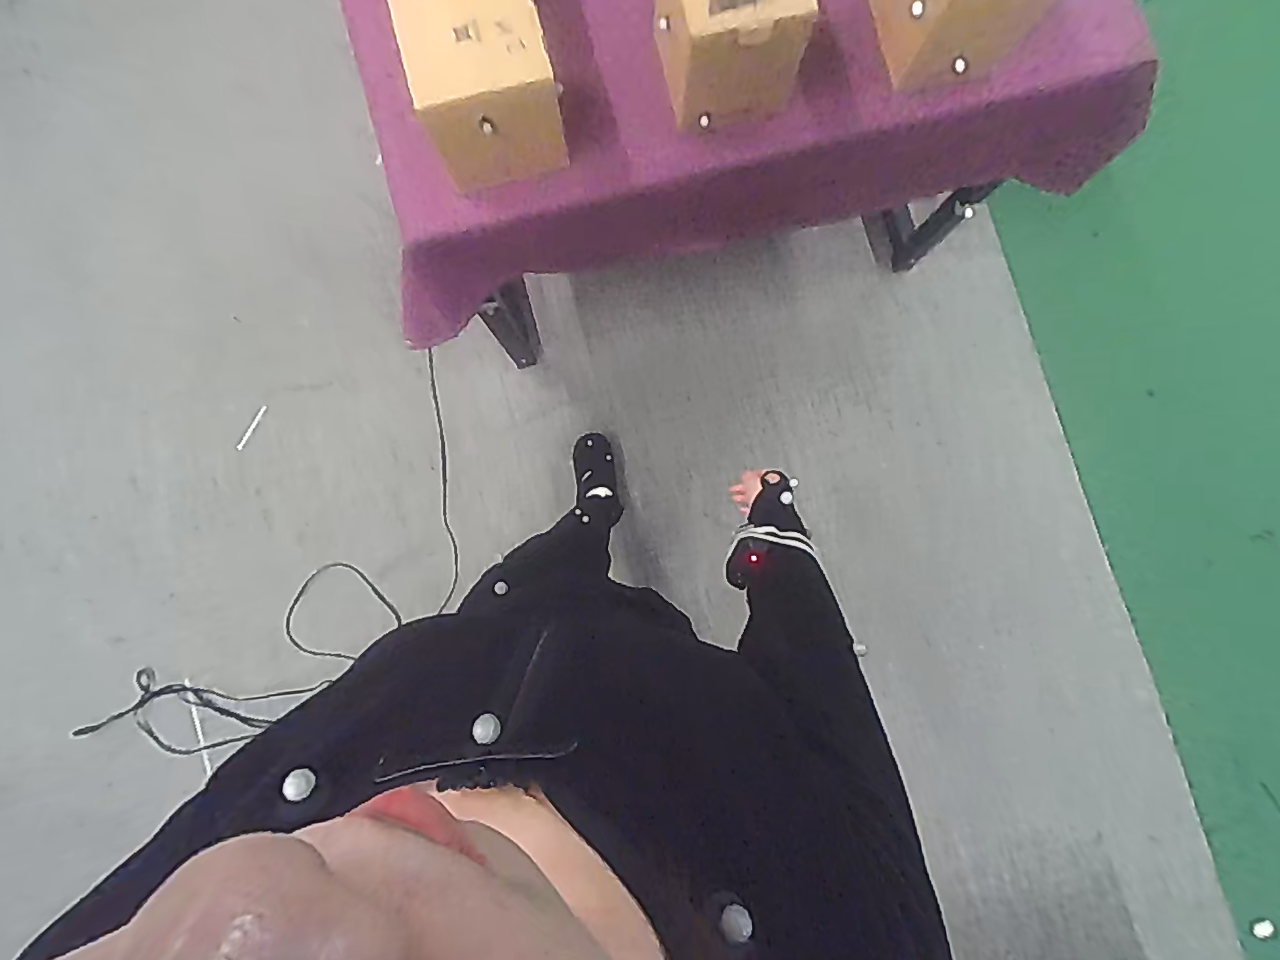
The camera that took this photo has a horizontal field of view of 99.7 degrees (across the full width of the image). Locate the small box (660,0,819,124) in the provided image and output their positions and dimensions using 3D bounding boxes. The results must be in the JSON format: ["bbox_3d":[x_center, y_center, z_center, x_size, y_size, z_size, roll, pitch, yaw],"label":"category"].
[{"bbox_3d":[0.127,-0.634,0.753,0.168,0.176,0.179,-13,84,-2],"label":"small box"}]

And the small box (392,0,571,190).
[{"bbox_3d":[-0.204,-0.534,0.741,0.179,0.176,0.168,-15,85,-2],"label":"small box"}]
